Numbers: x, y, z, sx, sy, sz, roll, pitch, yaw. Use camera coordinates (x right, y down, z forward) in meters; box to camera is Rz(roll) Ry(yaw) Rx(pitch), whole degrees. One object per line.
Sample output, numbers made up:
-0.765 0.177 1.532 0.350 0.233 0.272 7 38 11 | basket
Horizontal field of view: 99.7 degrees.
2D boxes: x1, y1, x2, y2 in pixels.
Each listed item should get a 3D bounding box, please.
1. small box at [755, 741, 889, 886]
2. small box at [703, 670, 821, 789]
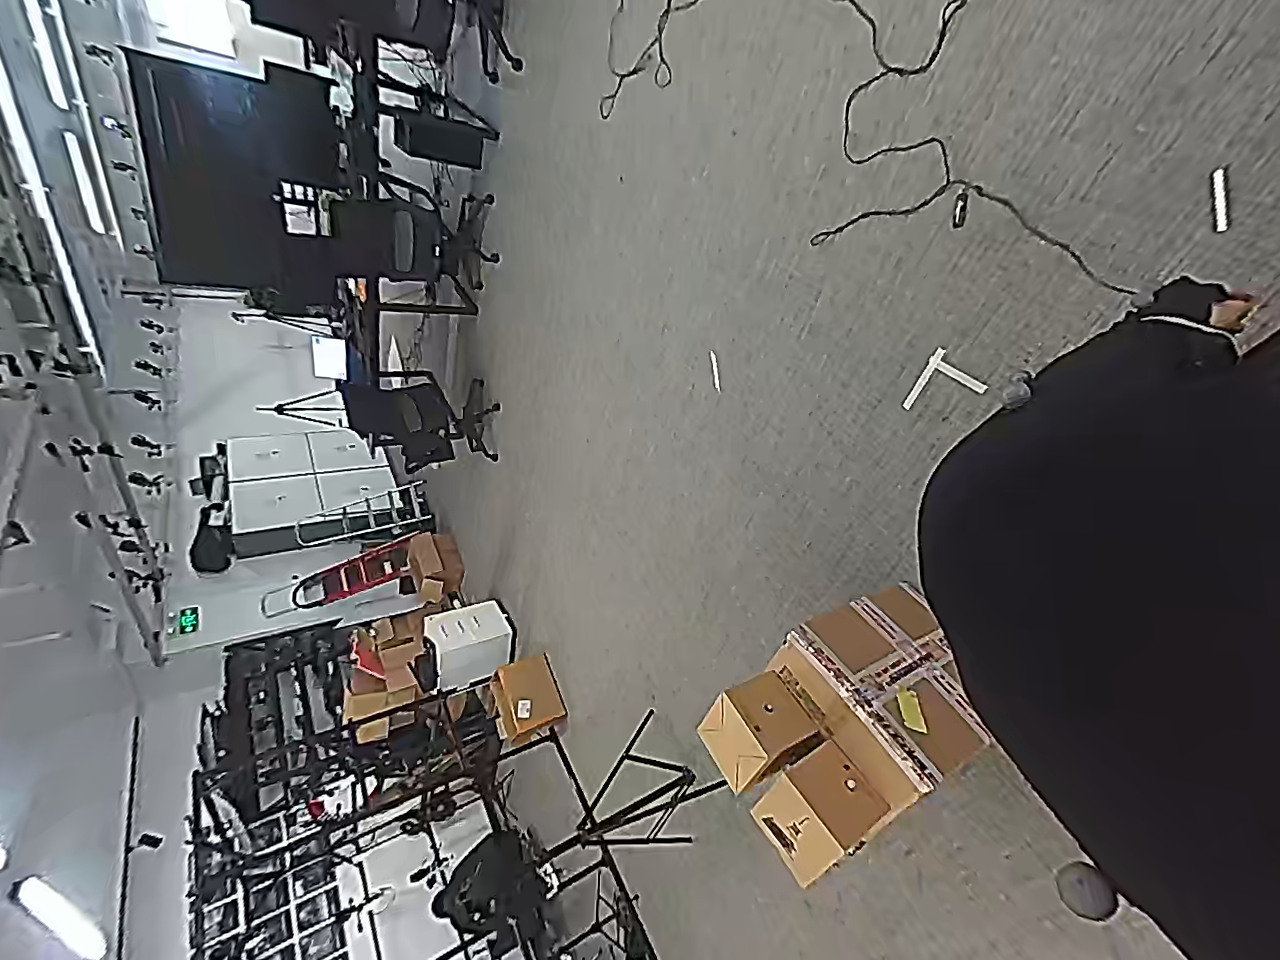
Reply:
0.380 0.686 1.126 0.168 0.176 0.179 48 132 36 | small box
0.275 0.577 1.250 0.168 0.176 0.179 53 135 40 | small box
